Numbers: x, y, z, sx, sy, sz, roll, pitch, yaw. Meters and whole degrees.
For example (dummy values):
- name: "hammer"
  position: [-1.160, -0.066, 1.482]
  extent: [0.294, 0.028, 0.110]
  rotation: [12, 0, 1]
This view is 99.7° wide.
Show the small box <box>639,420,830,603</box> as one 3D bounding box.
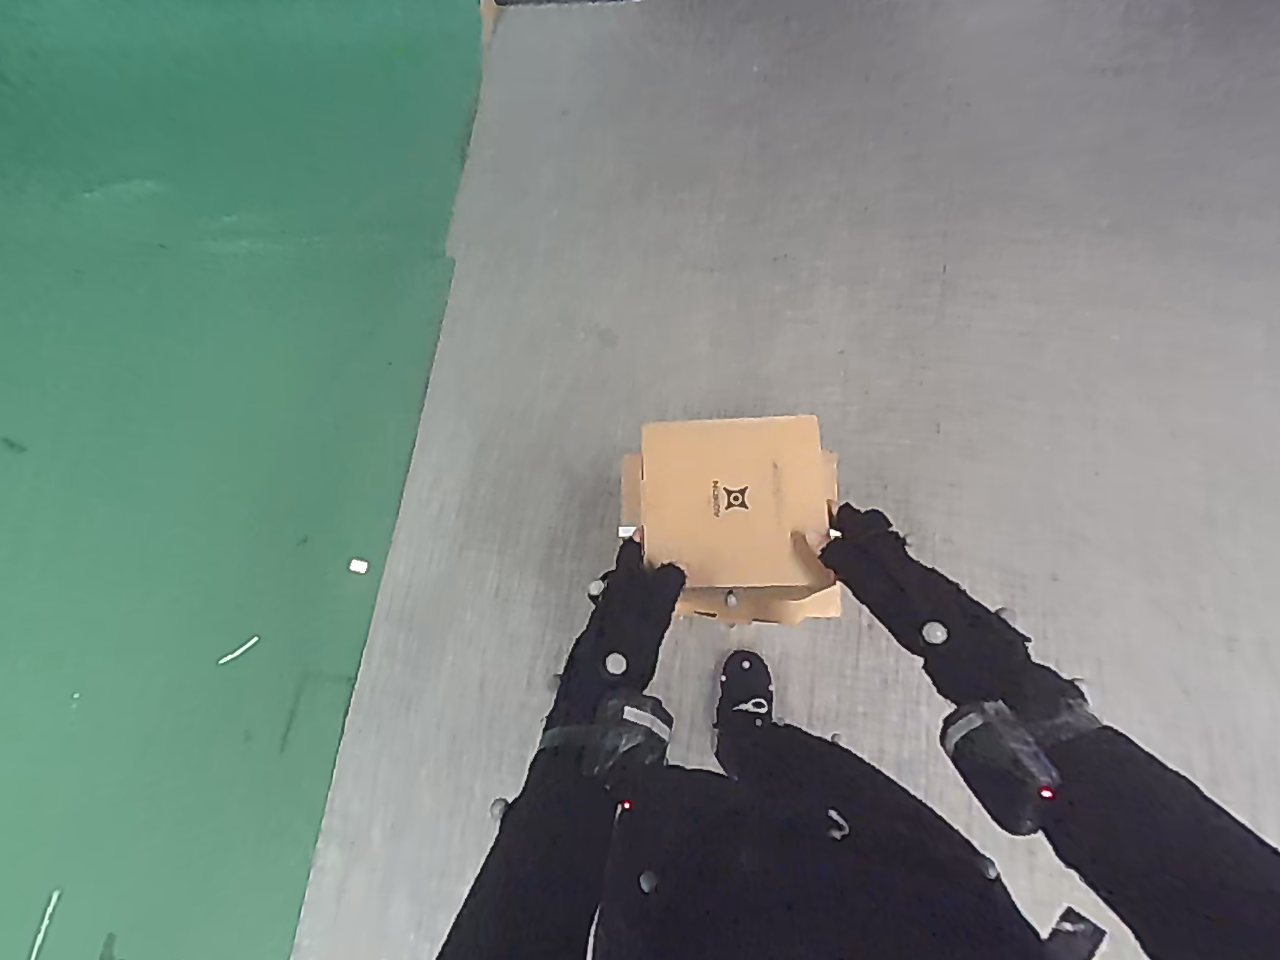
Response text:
- name: "small box"
  position: [0.095, 0.045, 0.598]
  extent: [0.179, 0.176, 0.168]
  rotation: [-3, 73, 4]

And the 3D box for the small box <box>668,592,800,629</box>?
- name: "small box"
  position: [0.136, 0.107, 0.769]
  extent: [0.168, 0.176, 0.179]
  rotation: [5, 79, 9]
